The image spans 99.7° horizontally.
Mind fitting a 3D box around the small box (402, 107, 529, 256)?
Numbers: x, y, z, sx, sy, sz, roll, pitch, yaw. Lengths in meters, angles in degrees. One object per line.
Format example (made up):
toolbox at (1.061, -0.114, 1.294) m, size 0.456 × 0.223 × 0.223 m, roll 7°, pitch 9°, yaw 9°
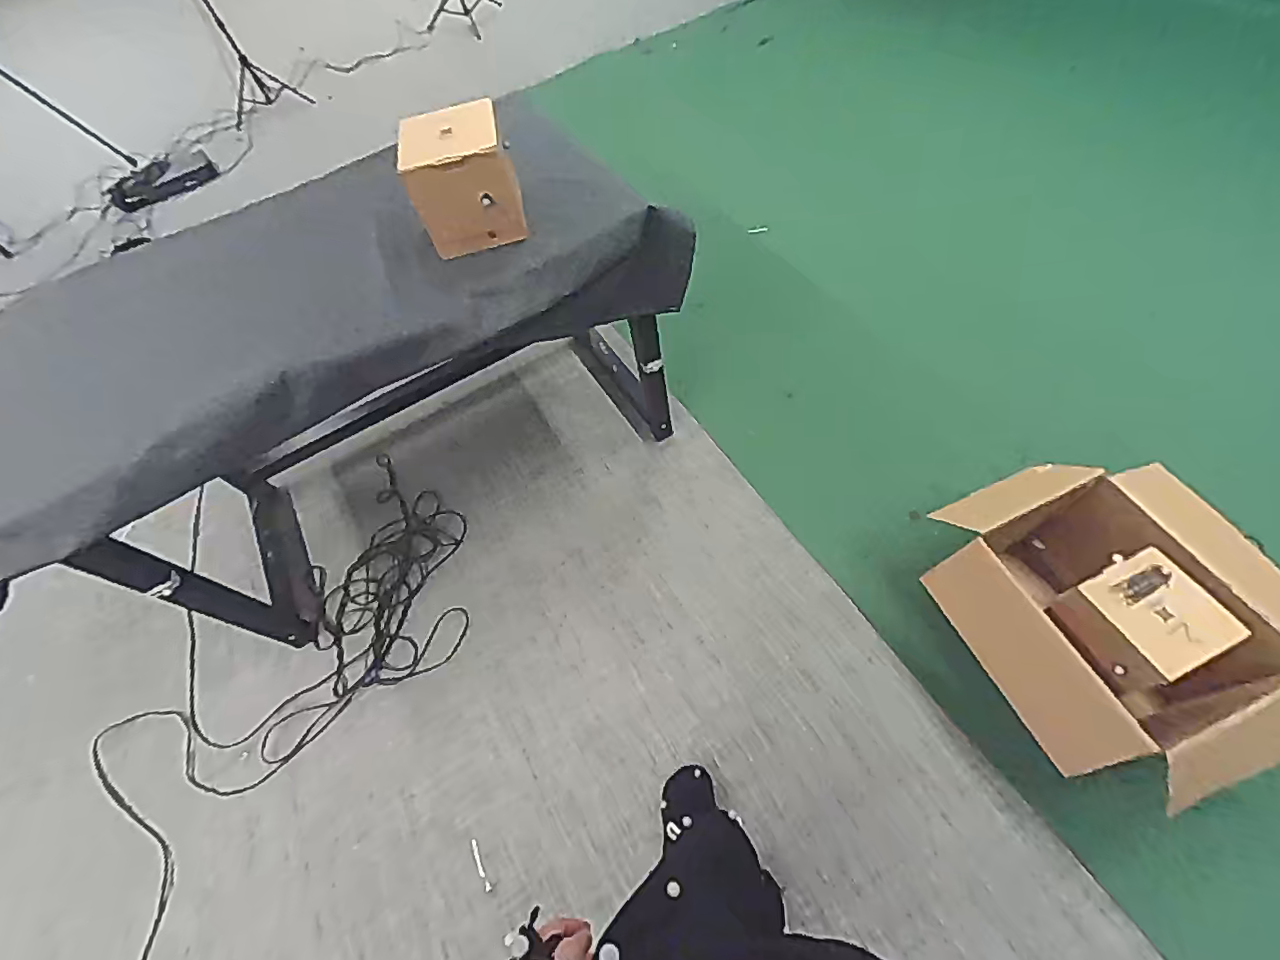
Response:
small box at (-0.307, -0.527, 0.976) m, size 0.168 × 0.176 × 0.179 m, roll -14°, pitch 56°, yaw -1°
